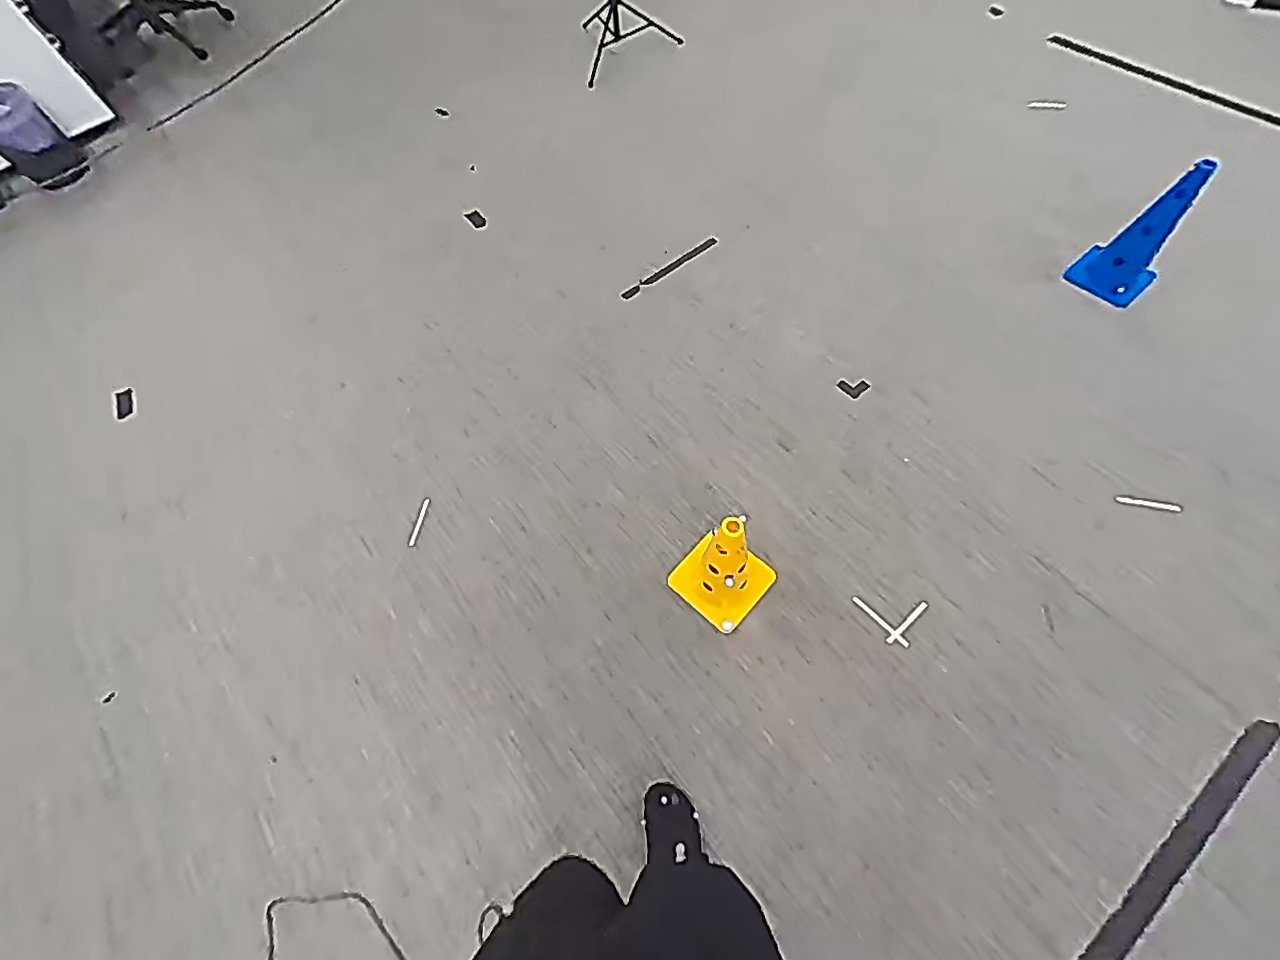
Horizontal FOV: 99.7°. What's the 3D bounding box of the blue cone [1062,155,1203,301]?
[{"bbox_3d":[1.410,-0.708,1.510,0.193,0.380,0.192,-37,65,-13],"label":"blue cone"}]
